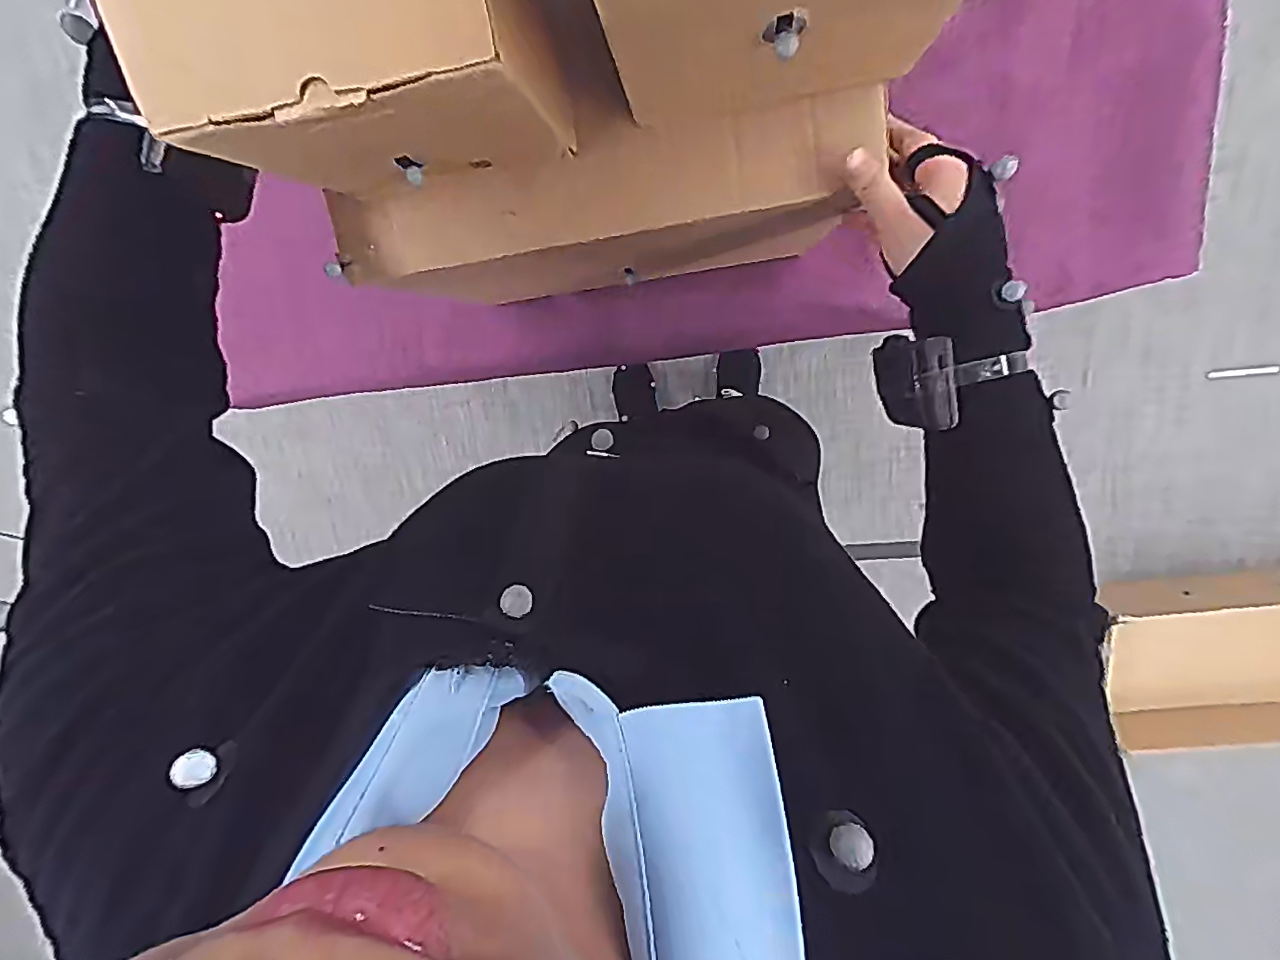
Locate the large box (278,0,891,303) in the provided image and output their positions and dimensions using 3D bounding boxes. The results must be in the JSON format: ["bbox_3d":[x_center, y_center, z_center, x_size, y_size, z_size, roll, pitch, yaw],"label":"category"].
[{"bbox_3d":[-0.032,-0.359,0.497,0.408,0.320,0.320,-7,103,8],"label":"large box"}]
